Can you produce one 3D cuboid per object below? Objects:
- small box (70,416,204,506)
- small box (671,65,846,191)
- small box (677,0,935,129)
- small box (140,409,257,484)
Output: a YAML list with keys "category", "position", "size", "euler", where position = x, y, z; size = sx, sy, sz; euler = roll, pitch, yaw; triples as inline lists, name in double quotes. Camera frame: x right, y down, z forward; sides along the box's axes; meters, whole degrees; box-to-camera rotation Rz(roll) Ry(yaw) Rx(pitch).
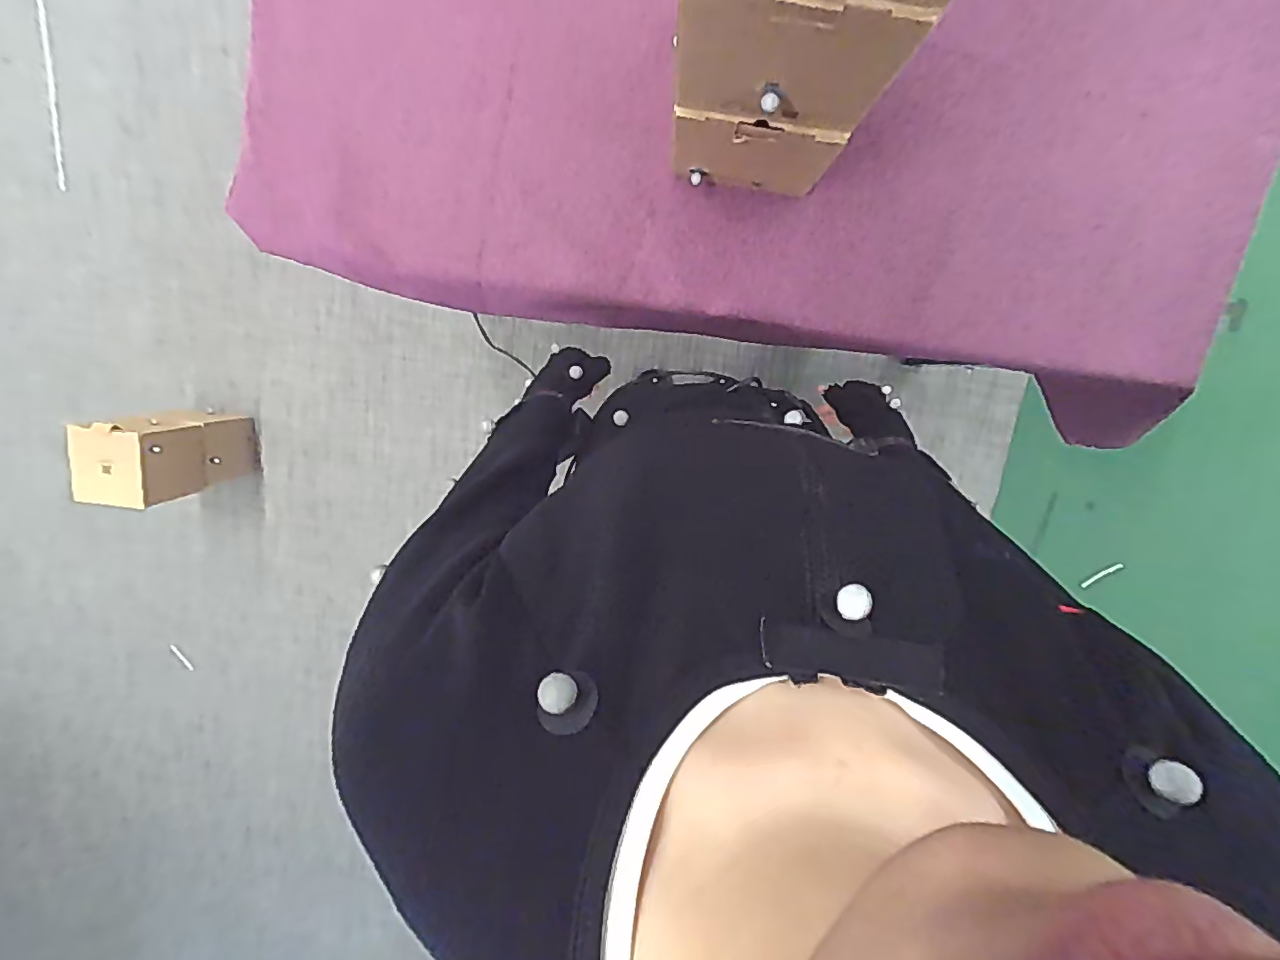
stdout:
- category: "small box"
  position: [-1.174, -0.050, 1.277]
  size: [0.168, 0.176, 0.179]
  euler: [7, 101, 1]
- category: "small box"
  position: [0.128, -0.428, 0.565]
  size: [0.168, 0.176, 0.179]
  euler: [10, 101, 0]
- category: "small box"
  position: [0.121, -0.403, 0.403]
  size: [0.168, 0.176, 0.179]
  euler: [10, 102, 1]
- category: "small box"
  position: [-1.163, -0.095, 1.434]
  size: [0.179, 0.176, 0.168]
  euler: [7, 102, 2]
